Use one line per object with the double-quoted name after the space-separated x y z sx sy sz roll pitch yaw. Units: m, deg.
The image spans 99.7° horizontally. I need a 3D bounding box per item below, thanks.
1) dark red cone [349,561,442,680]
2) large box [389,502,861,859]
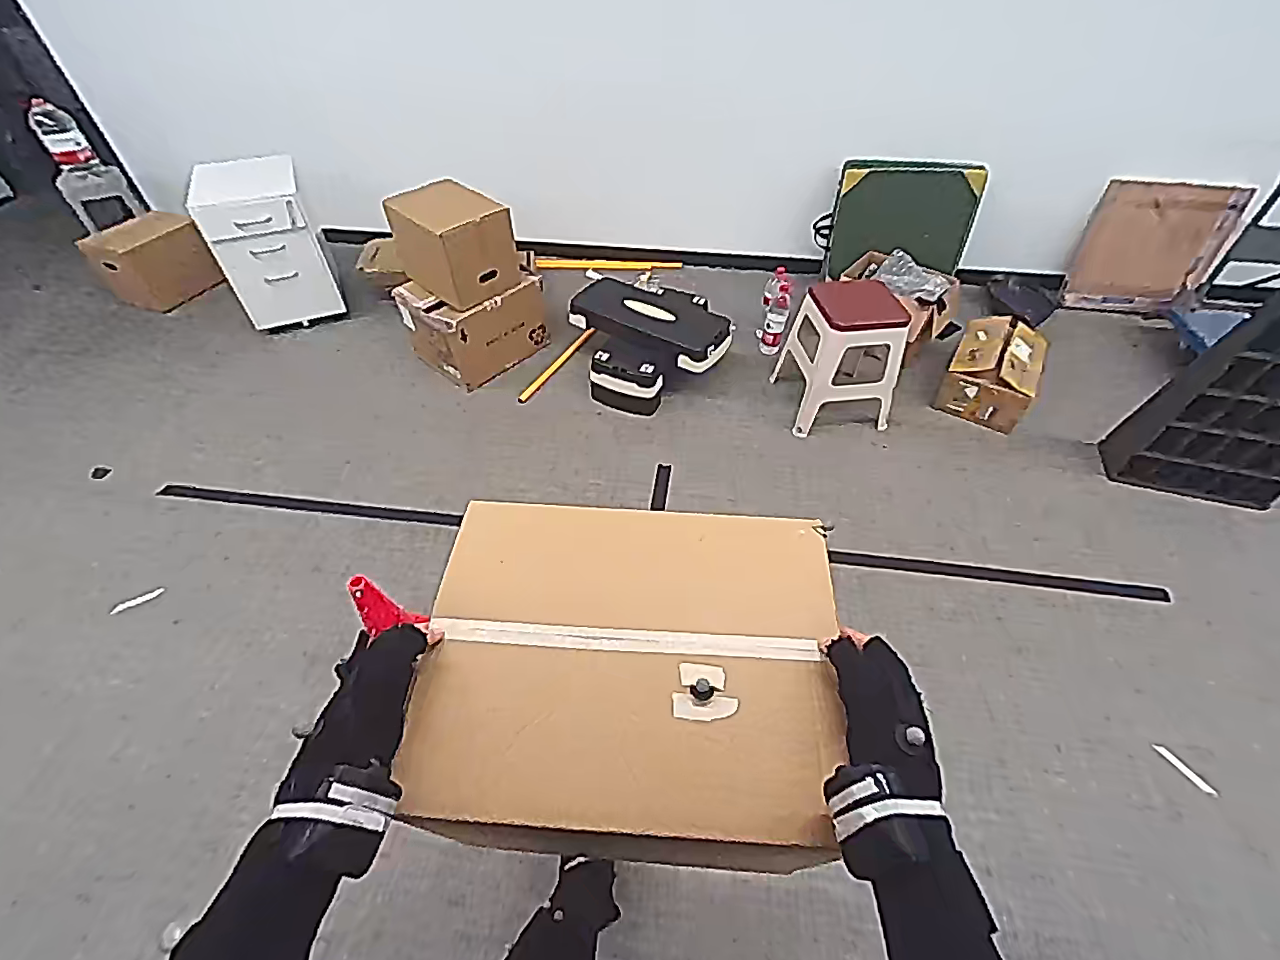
-0.657 0.335 1.385 0.201 0.394 0.202 12 49 8 "dark red cone"
-0.009 0.247 0.654 0.408 0.320 0.320 4 52 2 "large box"
